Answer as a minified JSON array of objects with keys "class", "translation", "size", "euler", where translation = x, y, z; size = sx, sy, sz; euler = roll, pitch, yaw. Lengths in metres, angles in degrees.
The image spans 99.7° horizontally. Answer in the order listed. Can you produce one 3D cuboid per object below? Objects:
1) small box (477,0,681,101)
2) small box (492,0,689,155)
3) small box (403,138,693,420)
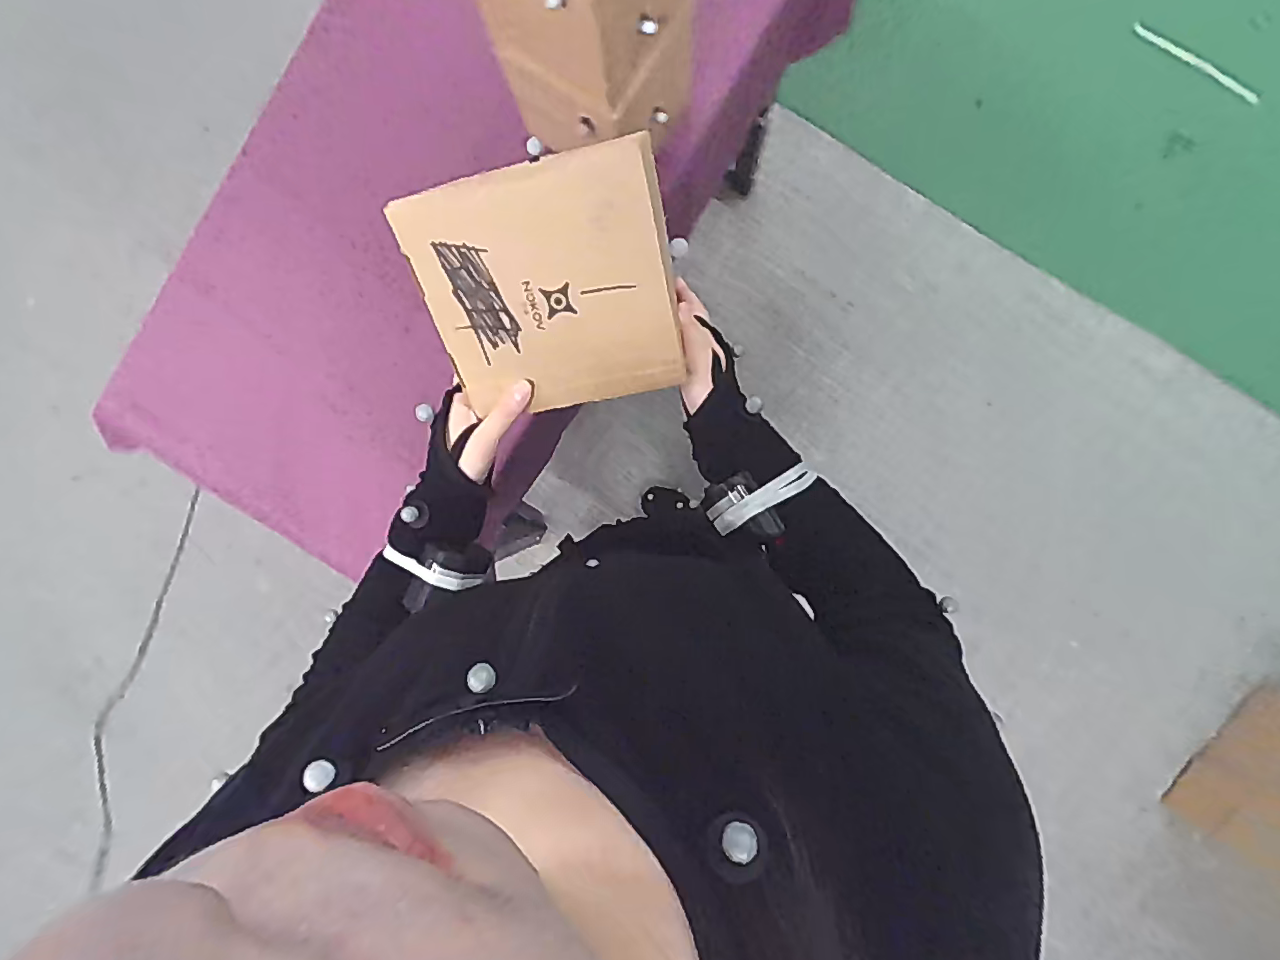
[{"class":"small box","translation":[-0.067,-0.533,0.538],"size":[0.179,0.176,0.168],"euler":[32,92,2]},{"class":"small box","translation":[-0.052,-0.525,0.701],"size":[0.179,0.176,0.168],"euler":[32,92,4]},{"class":"small box","translation":[-0.054,-0.171,0.451],"size":[0.179,0.176,0.168],"euler":[-9,124,8]}]
